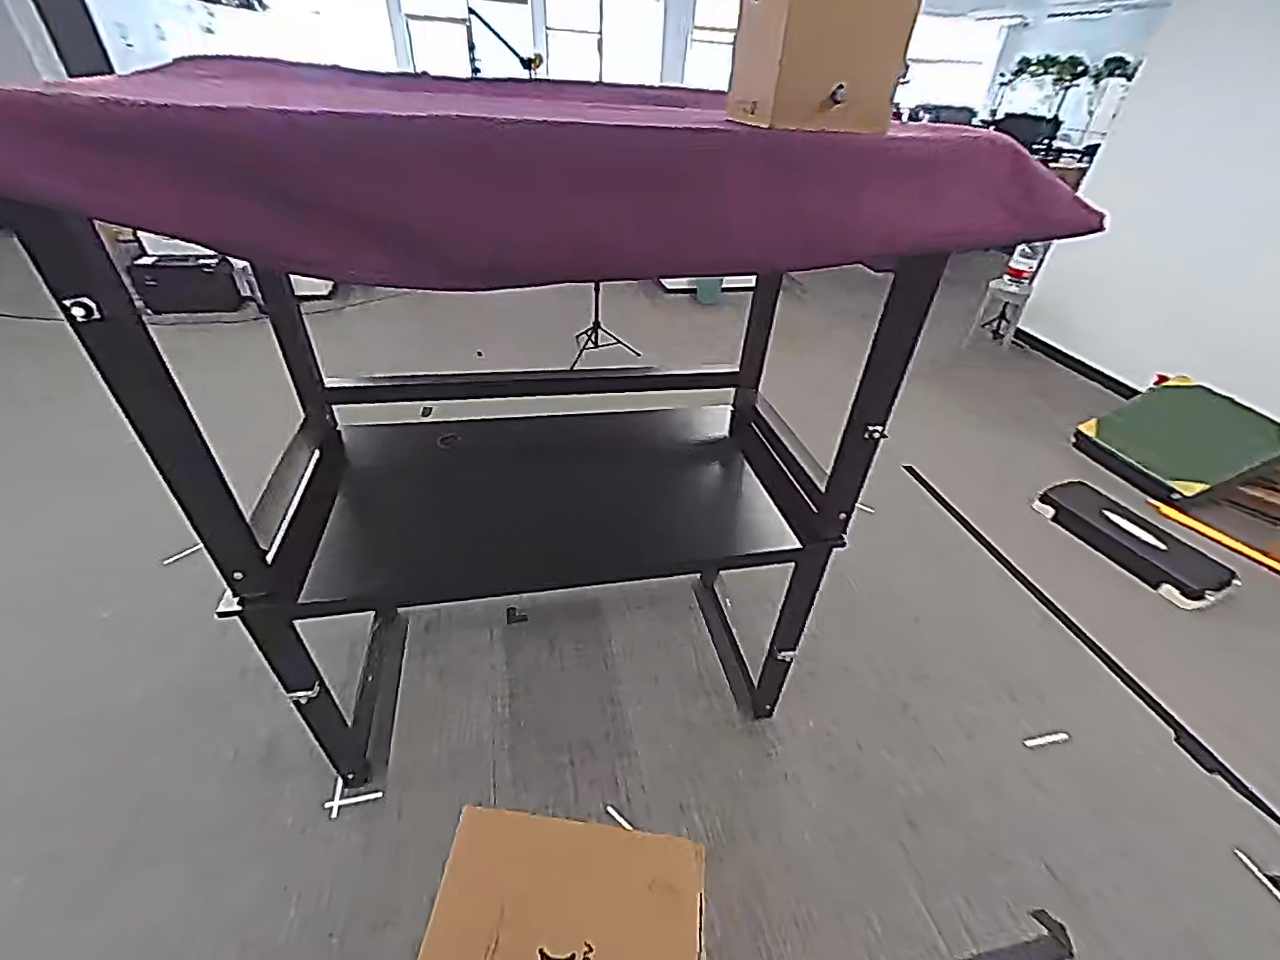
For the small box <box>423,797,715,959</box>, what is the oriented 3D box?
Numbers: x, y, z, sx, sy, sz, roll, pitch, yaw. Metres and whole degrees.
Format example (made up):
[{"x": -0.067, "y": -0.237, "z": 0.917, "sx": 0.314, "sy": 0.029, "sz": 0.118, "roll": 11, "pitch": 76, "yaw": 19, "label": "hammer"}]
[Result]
[{"x": -0.049, "y": 0.349, "z": 0.378, "sx": 0.179, "sy": 0.176, "sz": 0.168, "roll": 7, "pitch": 42, "yaw": 1, "label": "small box"}]

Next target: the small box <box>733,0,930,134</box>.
[{"x": 0.242, "y": -0.570, "z": 0.723, "sx": 0.179, "sy": 0.176, "sz": 0.168, "roll": -5, "pitch": 37, "yaw": -12, "label": "small box"}]
